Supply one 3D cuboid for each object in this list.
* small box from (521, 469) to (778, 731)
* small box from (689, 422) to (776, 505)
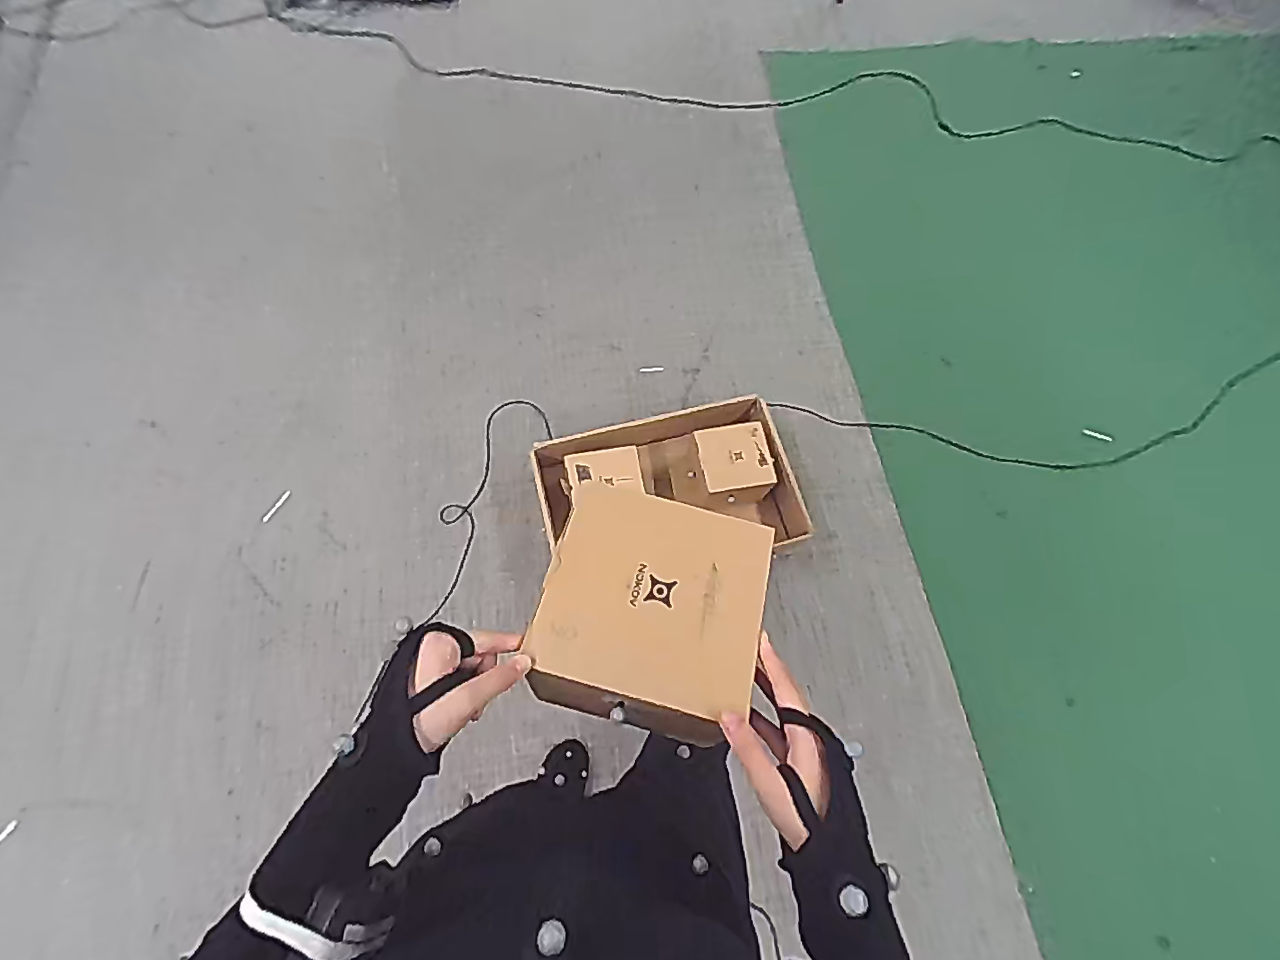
[{"bbox_3d":[0.009,0.119,0.499,0.179,0.176,0.168,16,59,3],"label":"small box"},{"bbox_3d":[0.226,-0.032,1.381,0.179,0.176,0.168,-8,72,-6],"label":"small box"}]
